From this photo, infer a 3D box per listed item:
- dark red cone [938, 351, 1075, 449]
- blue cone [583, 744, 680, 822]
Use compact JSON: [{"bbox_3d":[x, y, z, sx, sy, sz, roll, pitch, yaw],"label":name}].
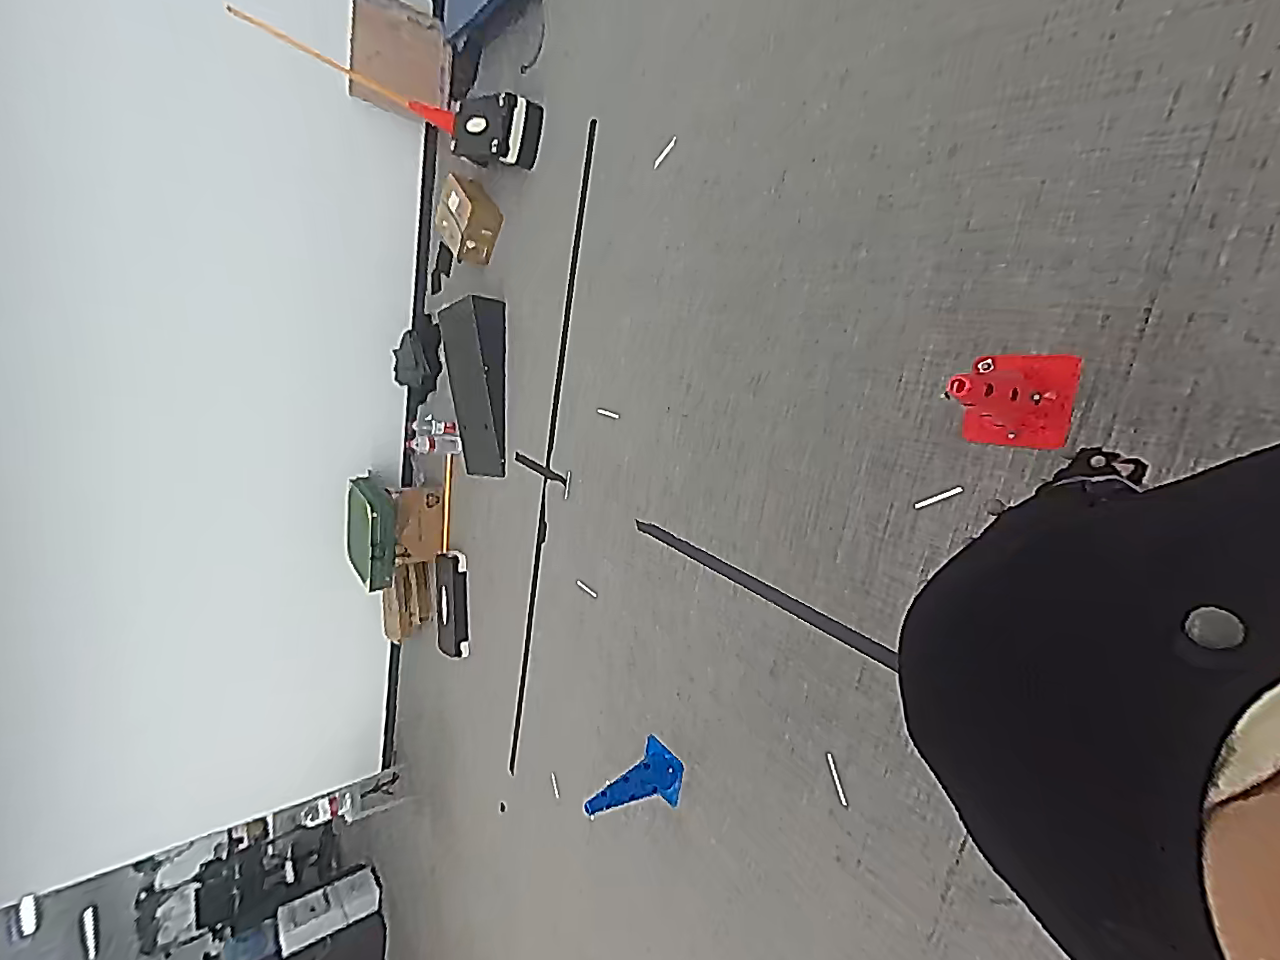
[{"bbox_3d":[0.675,-0.165,1.053,0.202,0.394,0.201,13,102,48],"label":"dark red cone"},{"bbox_3d":[-0.043,1.146,1.984,0.193,0.380,0.192,25,111,46],"label":"blue cone"}]
